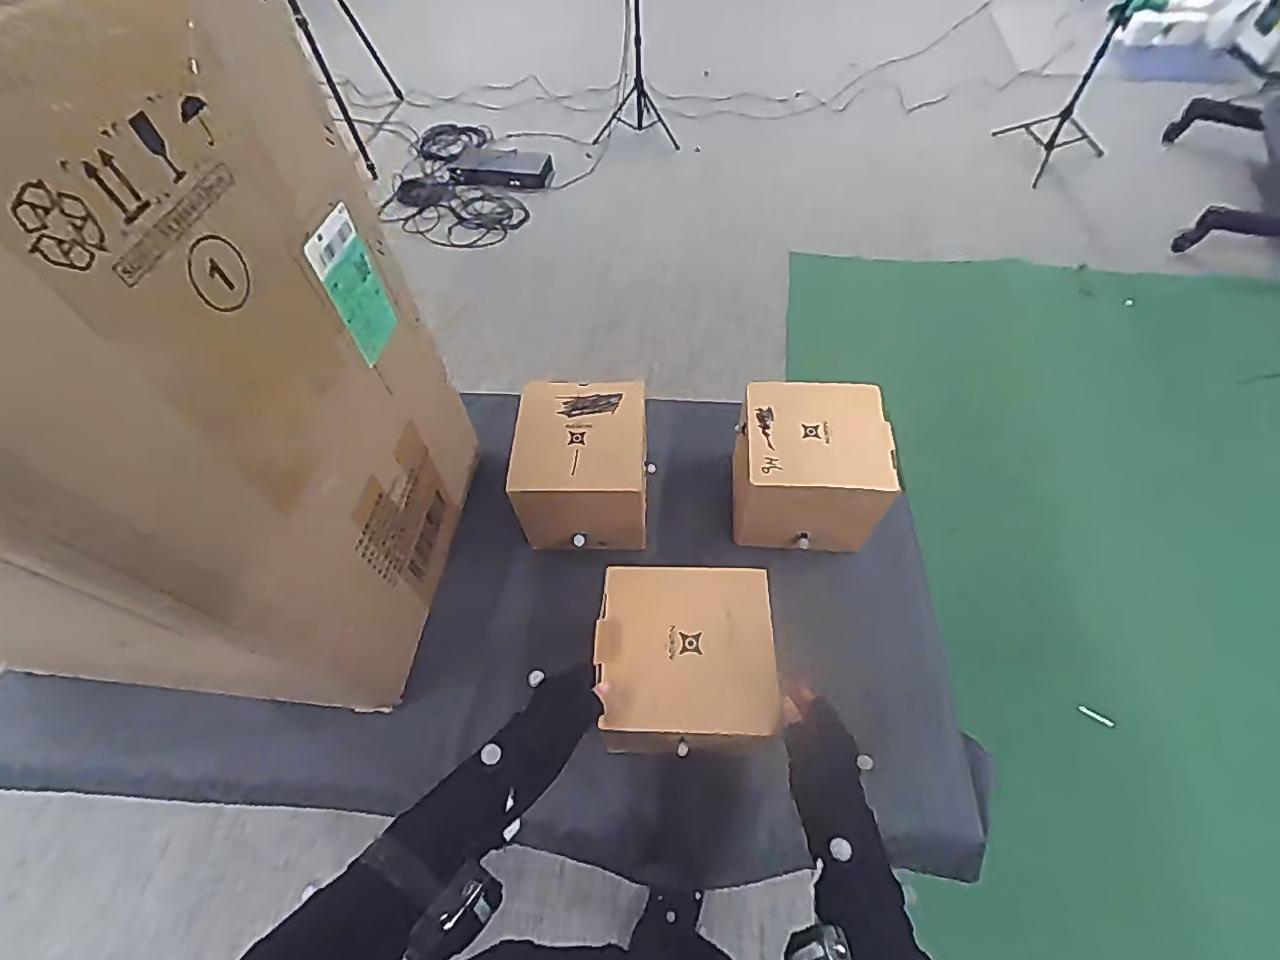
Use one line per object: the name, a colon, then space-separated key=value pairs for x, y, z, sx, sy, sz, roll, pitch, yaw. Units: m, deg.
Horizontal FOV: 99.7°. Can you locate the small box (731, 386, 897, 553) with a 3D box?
small box: x=0.226 y=-0.009 z=0.751 sx=0.179 sy=0.176 sz=0.168 roll=3 pitch=56 yaw=3
